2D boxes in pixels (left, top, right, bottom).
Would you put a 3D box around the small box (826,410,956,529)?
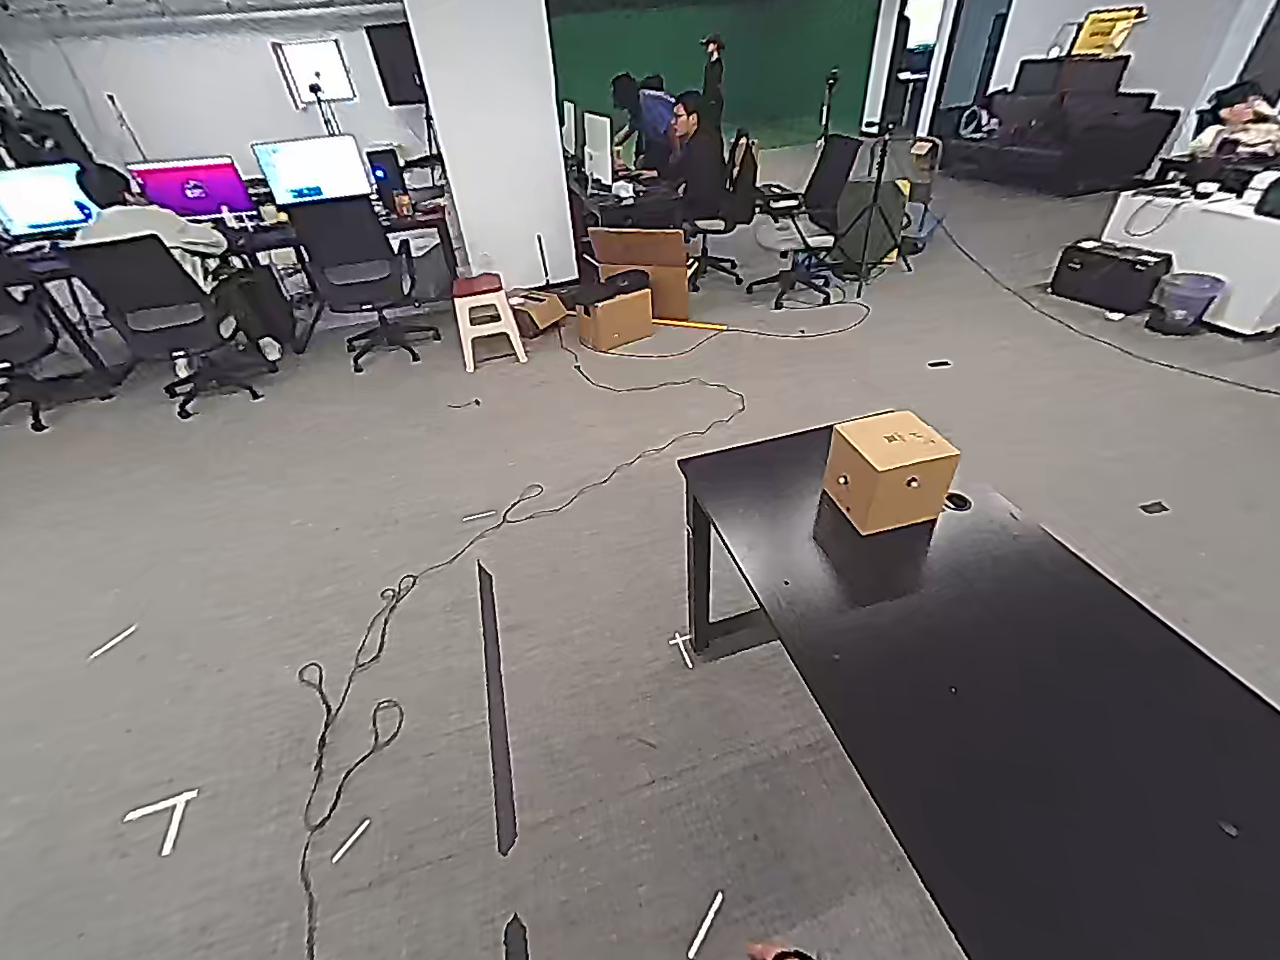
[{"bbox_3d":[0.501,-0.020,1.113,0.179,0.176,0.168,-12,39,-8],"label":"small box"}]
